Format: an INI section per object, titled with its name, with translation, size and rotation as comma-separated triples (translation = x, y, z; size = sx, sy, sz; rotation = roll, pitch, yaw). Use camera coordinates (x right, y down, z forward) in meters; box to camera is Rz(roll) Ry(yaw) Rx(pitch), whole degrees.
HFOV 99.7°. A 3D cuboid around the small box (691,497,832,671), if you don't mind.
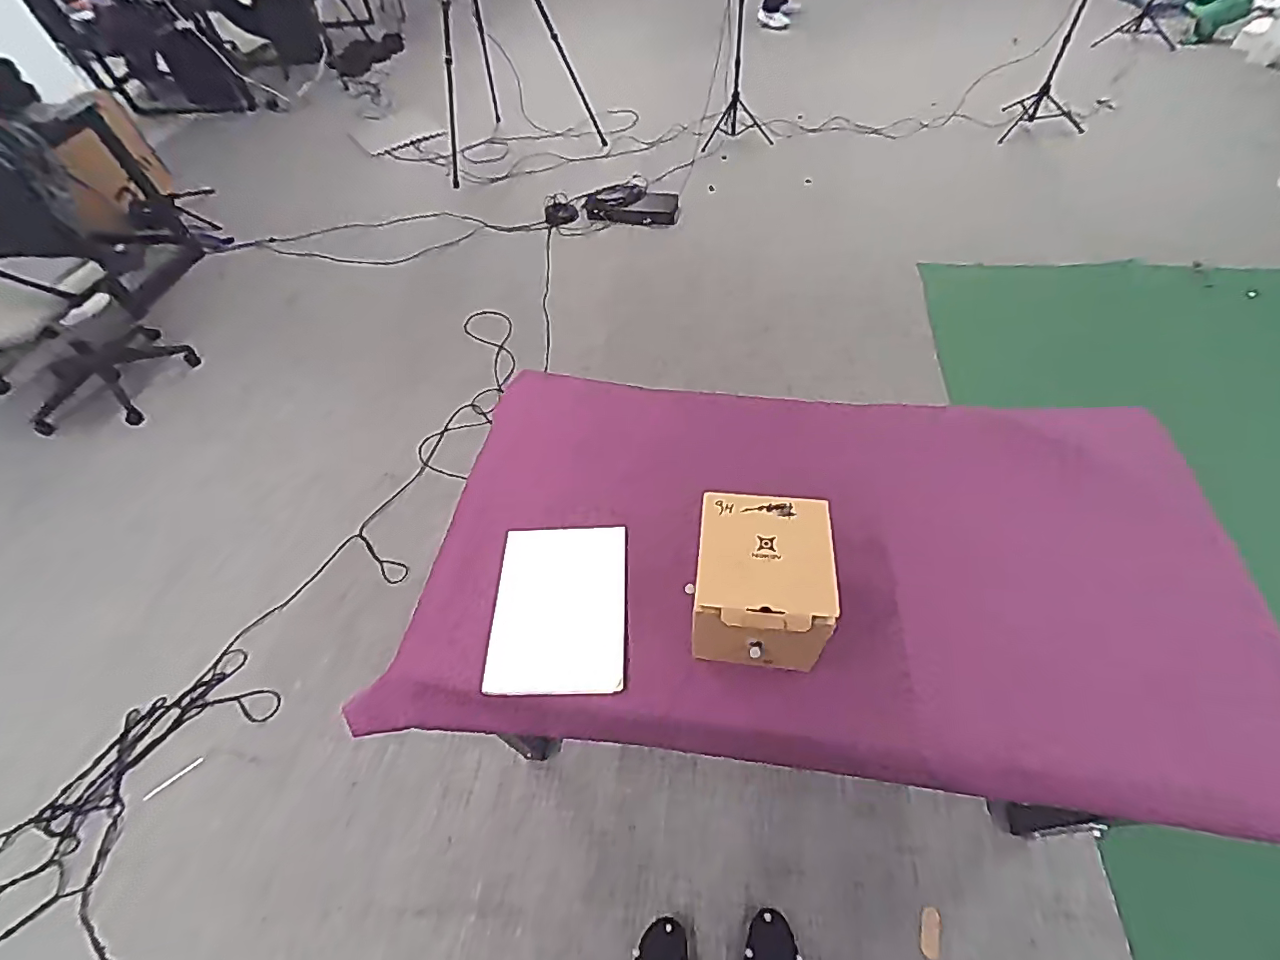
[small box]
translation = 0.161, 0.146, 0.744
size = 0.168, 0.176, 0.179
rotation = 5, 54, 8
